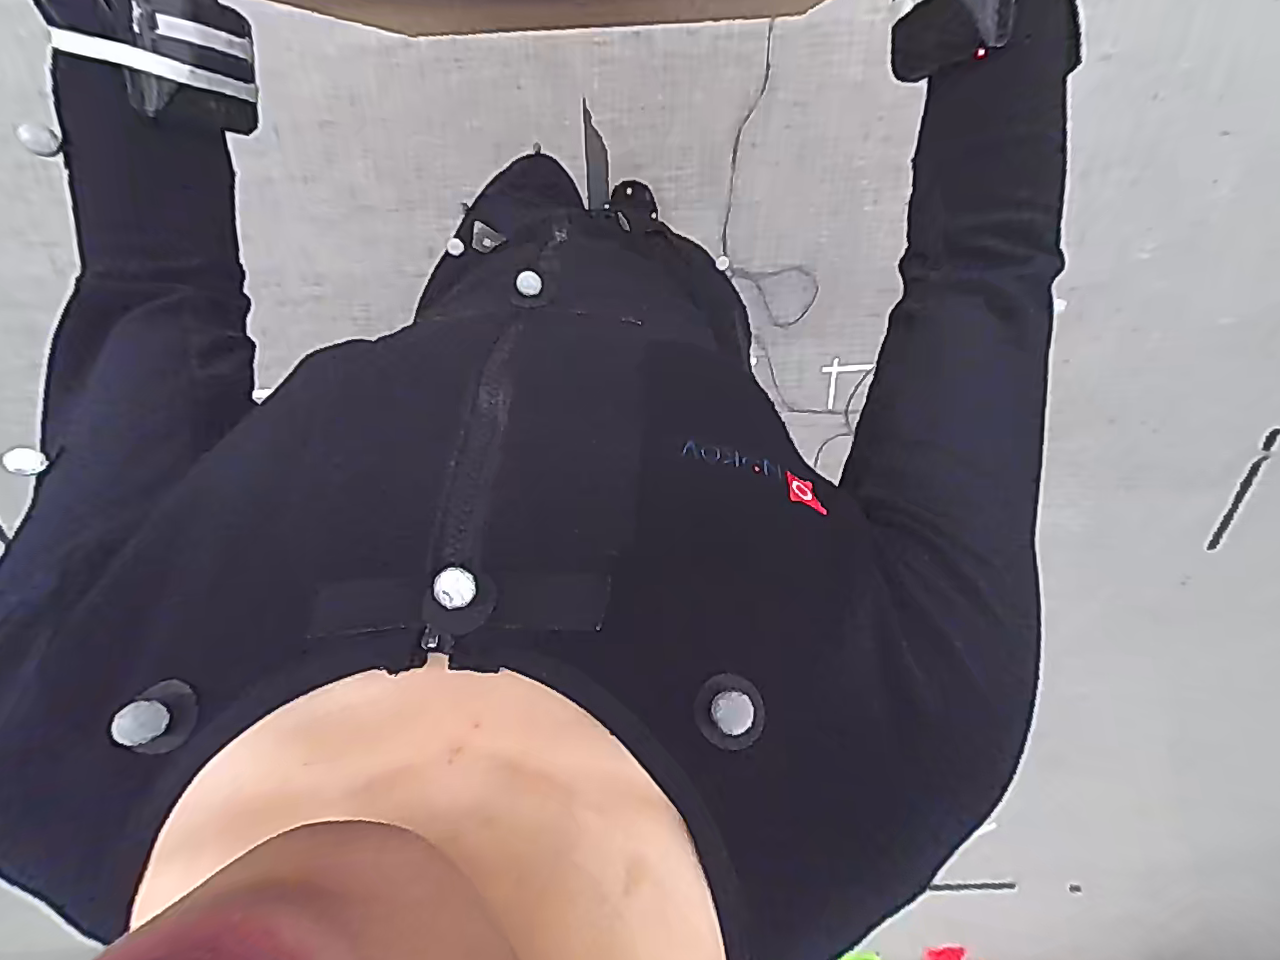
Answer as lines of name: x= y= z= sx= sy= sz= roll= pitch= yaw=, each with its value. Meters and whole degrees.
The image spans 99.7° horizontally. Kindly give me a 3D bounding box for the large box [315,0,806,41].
large box: x=-0.045 y=-0.505 z=0.339 sx=0.408 sy=0.320 sz=0.320 roll=-2 pitch=125 yaw=2
